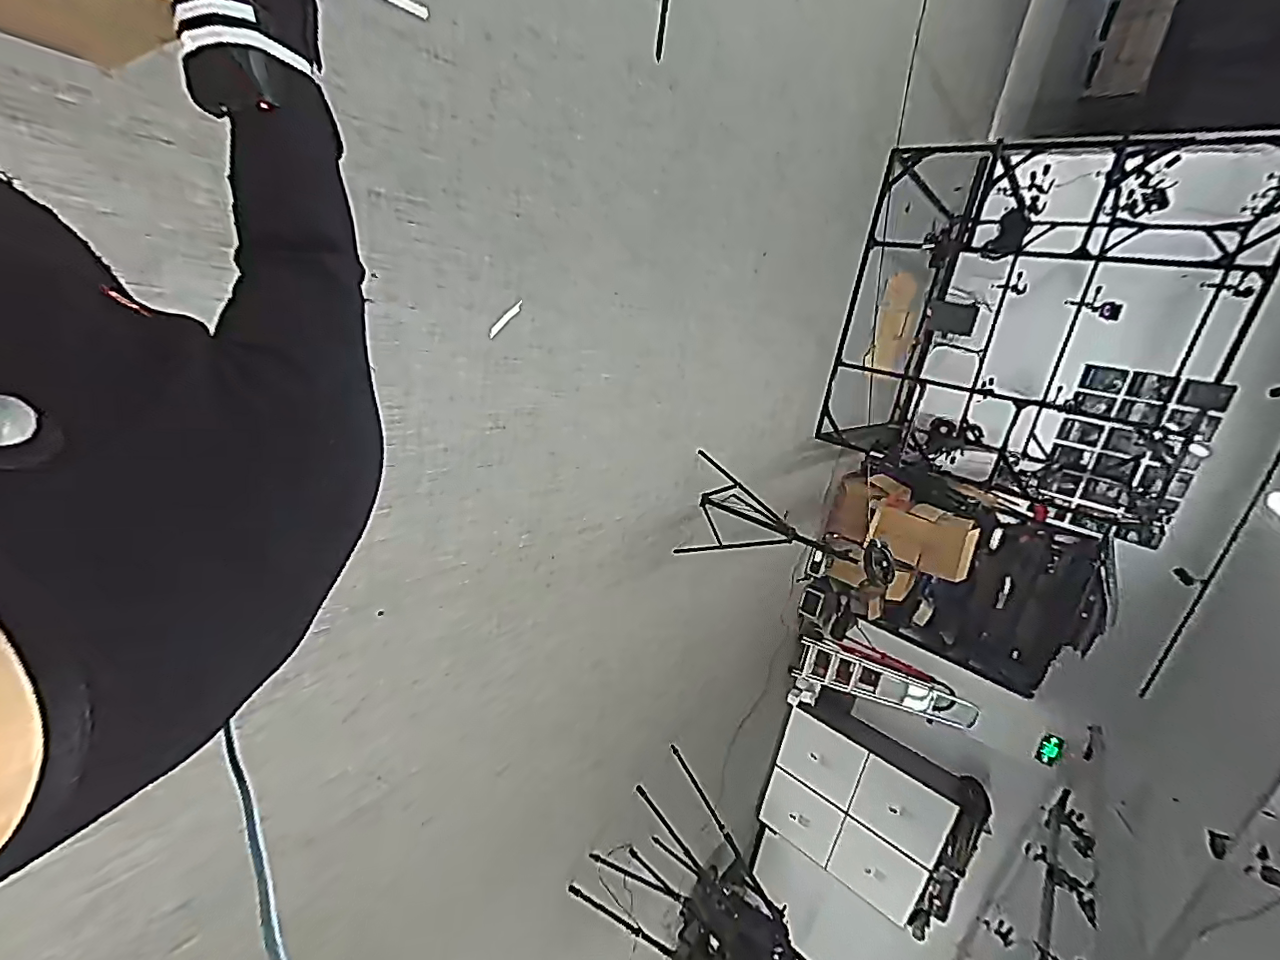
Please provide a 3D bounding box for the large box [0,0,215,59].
[{"bbox_3d":[-0.511,-0.489,0.263,0.408,0.320,0.320,-13,118,-52],"label":"large box"}]
